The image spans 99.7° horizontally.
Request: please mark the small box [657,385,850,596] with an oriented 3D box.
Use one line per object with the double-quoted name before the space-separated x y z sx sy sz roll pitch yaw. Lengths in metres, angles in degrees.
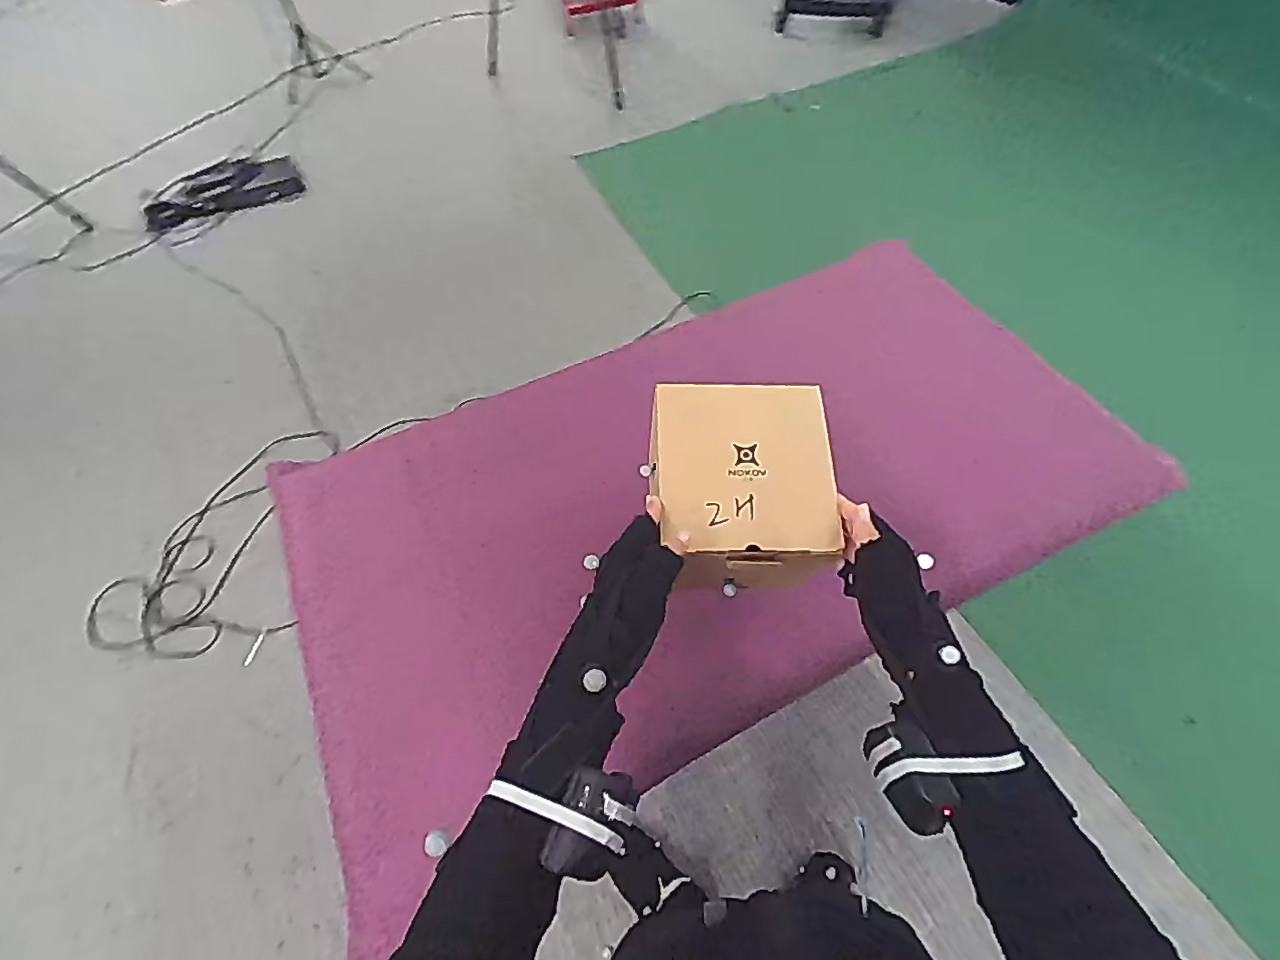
"small box" 0.103 0.018 0.579 0.168 0.176 0.179 1 67 0
